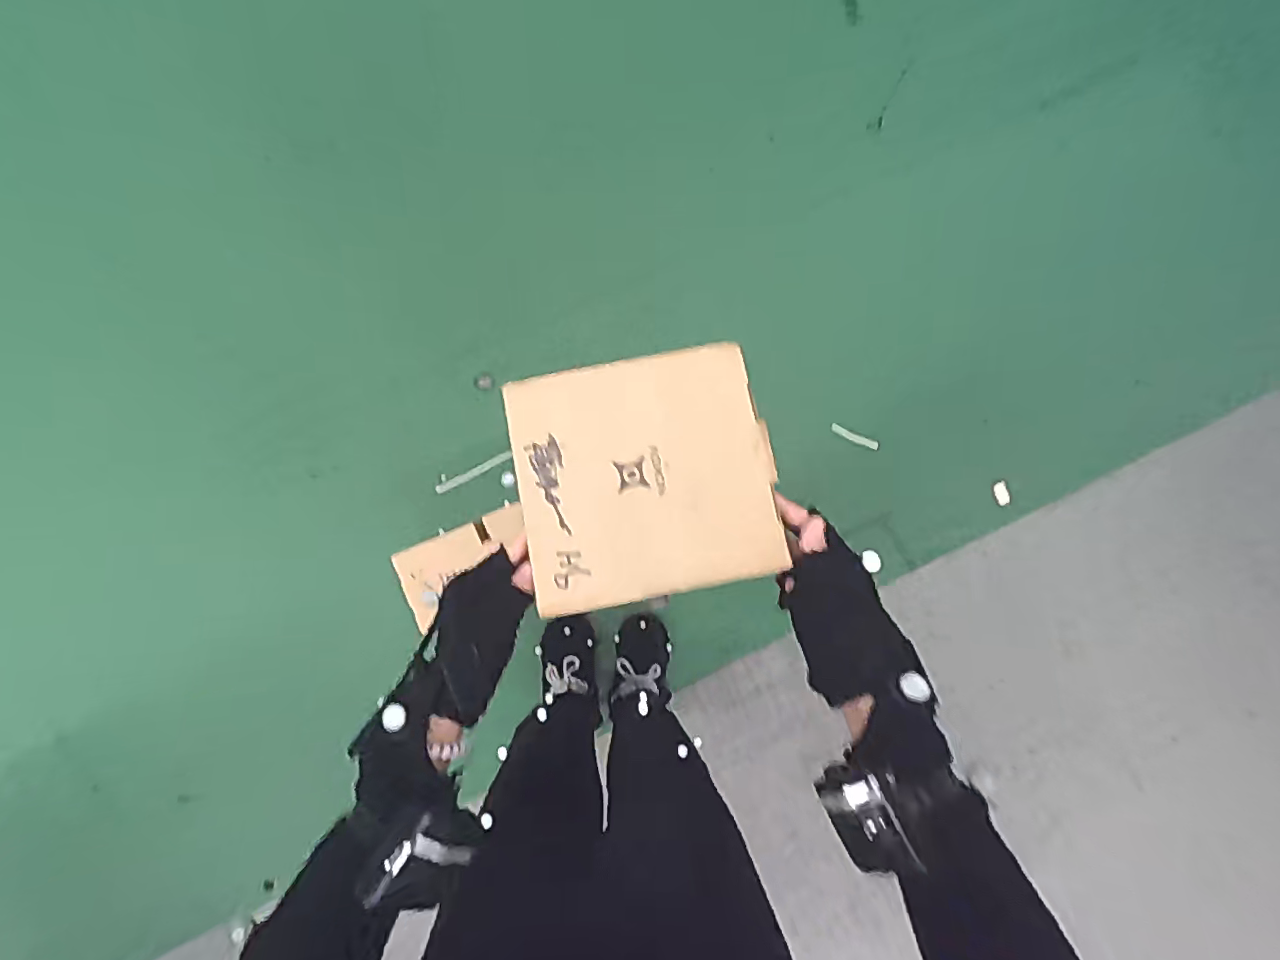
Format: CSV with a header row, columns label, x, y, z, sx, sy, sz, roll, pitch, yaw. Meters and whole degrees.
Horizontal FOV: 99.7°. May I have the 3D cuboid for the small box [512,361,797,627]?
label,x,y,z,sx,sy,sz,roll,pitch,yaw
small box,0.004,0.020,0.446,0.179,0.176,0.168,-9,78,-3
